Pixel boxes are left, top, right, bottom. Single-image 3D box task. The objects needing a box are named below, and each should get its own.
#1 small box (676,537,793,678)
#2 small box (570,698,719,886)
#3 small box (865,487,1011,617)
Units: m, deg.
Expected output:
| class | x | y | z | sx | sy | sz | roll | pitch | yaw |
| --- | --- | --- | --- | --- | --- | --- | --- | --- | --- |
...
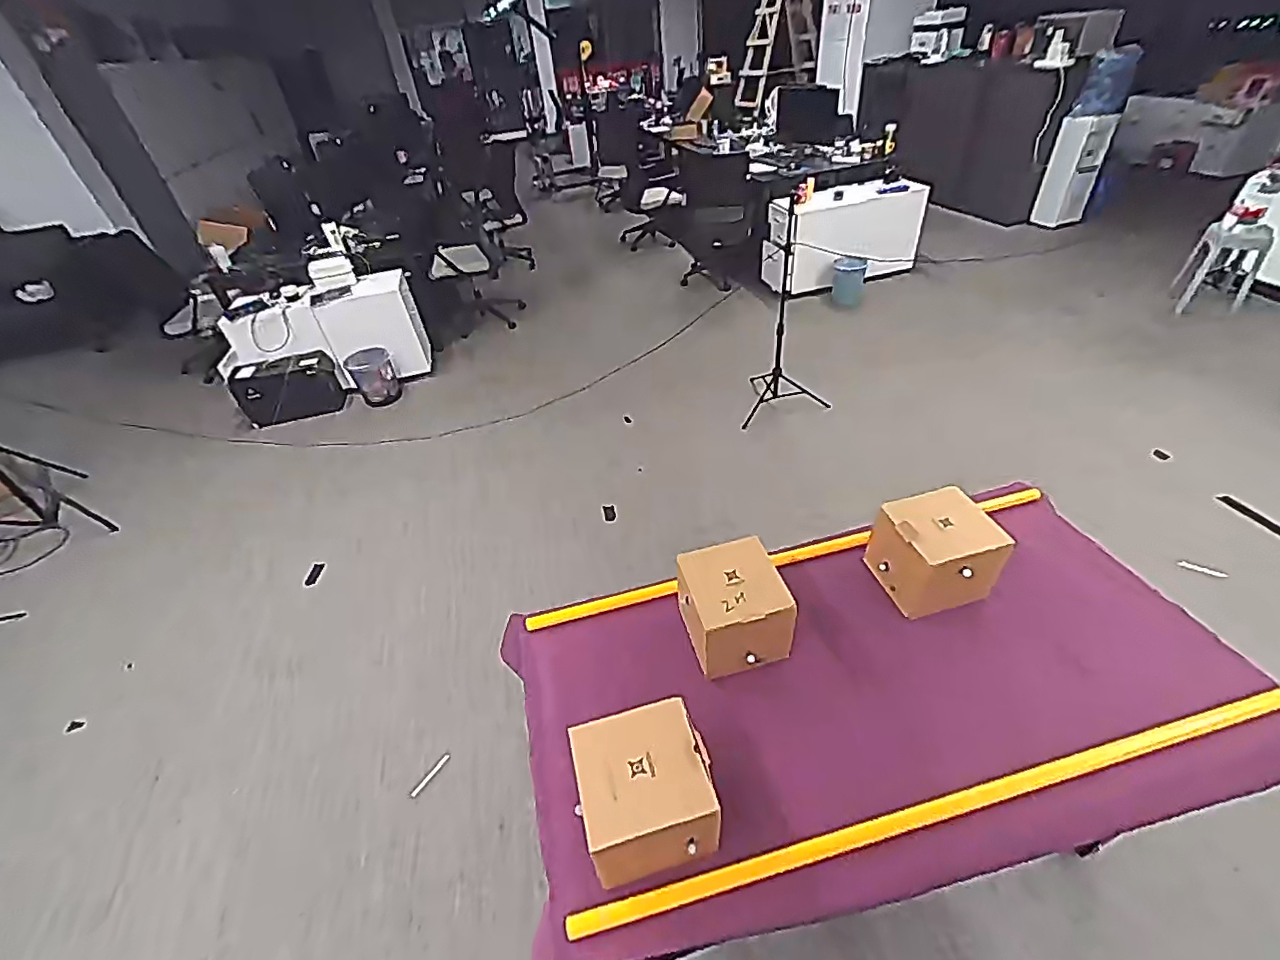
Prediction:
| class | x | y | z | sx | sy | sz | roll | pitch | yaw |
| --- | --- | --- | --- | --- | --- | --- | --- | --- | --- |
| small box | 0.171 | 0.241 | 1.025 | 0.168 | 0.176 | 0.179 | -14 | 42 | -7 |
| small box | 0.003 | 0.455 | 0.793 | 0.179 | 0.176 | 0.168 | -12 | 39 | -9 |
| small box | 0.579 | 0.144 | 1.079 | 0.179 | 0.176 | 0.168 | -14 | 41 | -7 |
